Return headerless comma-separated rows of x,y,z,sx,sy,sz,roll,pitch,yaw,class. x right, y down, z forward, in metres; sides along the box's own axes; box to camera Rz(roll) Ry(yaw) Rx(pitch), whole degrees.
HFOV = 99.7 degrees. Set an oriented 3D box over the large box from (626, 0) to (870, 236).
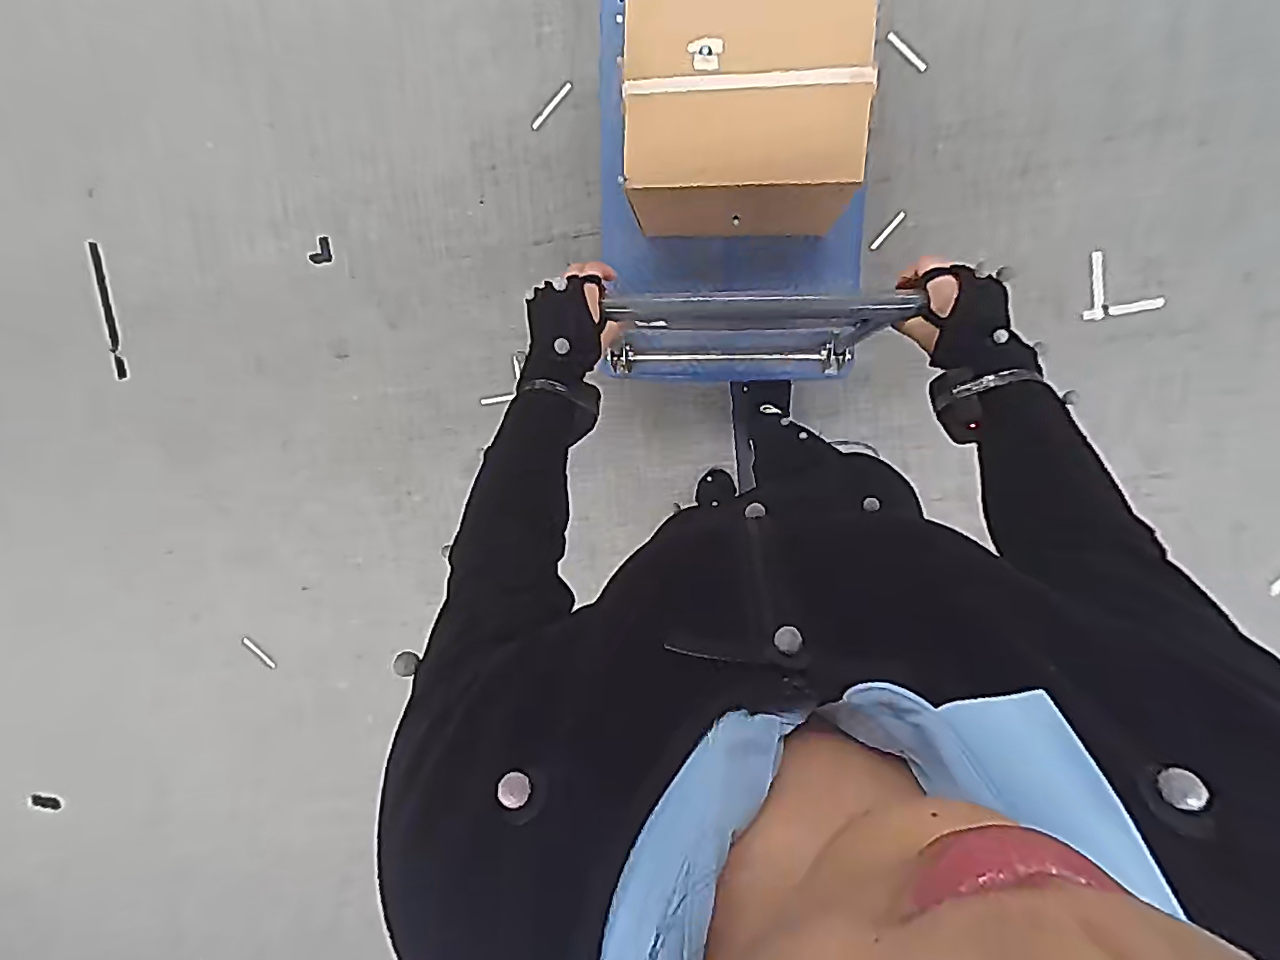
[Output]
0.195,-0.683,1.055,0.408,0.320,0.320,2,98,8,large box
